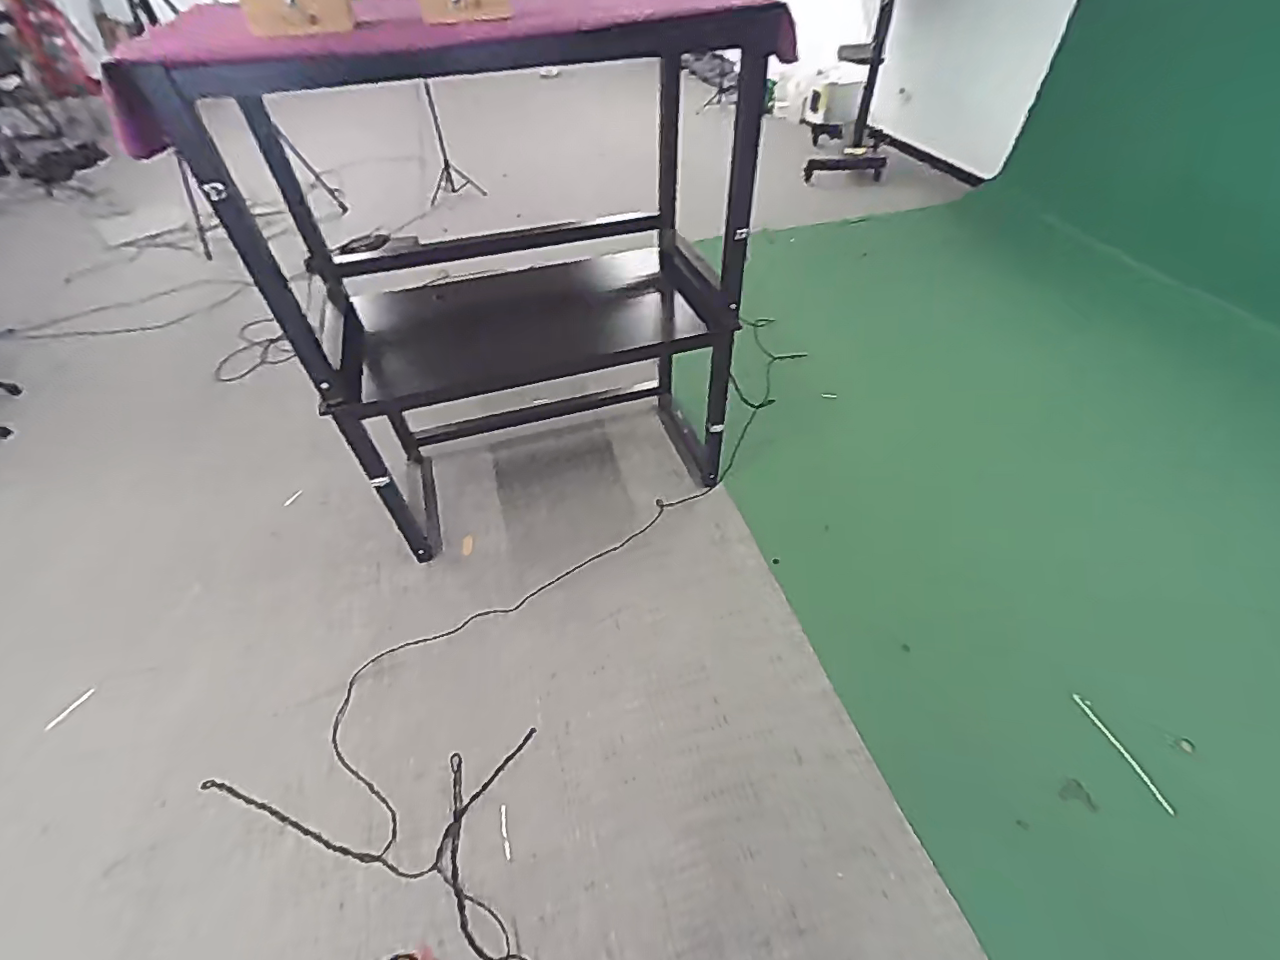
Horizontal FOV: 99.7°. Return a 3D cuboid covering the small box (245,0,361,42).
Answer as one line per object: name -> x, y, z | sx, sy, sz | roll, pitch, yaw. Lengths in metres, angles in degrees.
small box -> -0.612, -0.895, 0.956 | 0.168, 0.176, 0.179 | -15, 48, -11

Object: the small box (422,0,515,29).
small box -> -0.341, -0.976, 1.025 | 0.168, 0.176, 0.179 | -13, 48, -9
